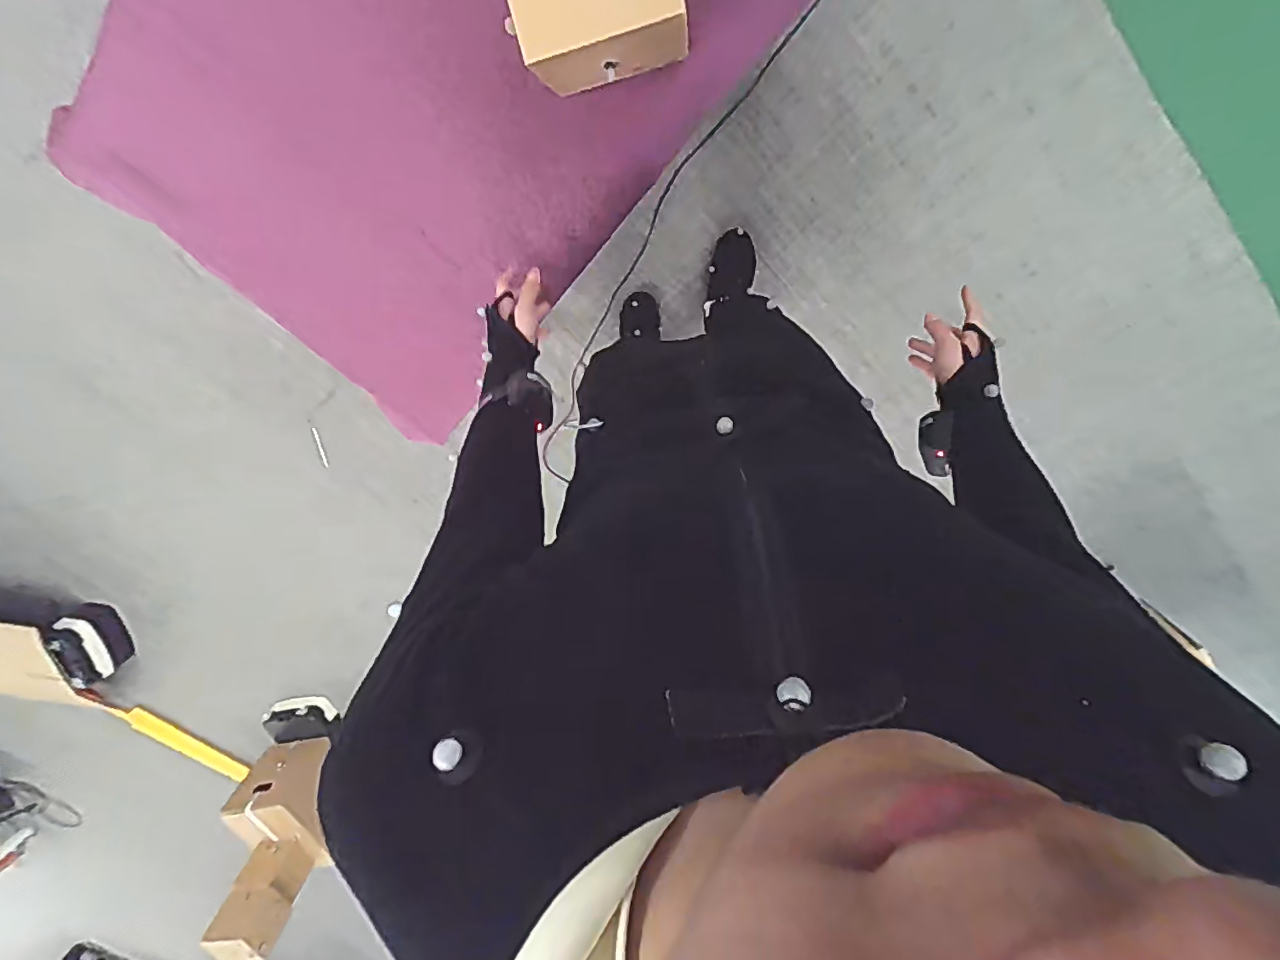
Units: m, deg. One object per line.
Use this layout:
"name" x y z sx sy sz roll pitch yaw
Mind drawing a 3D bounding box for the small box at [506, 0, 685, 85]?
"small box" -0.048 -0.533 0.554 0.168 0.176 0.179 -10 116 10
